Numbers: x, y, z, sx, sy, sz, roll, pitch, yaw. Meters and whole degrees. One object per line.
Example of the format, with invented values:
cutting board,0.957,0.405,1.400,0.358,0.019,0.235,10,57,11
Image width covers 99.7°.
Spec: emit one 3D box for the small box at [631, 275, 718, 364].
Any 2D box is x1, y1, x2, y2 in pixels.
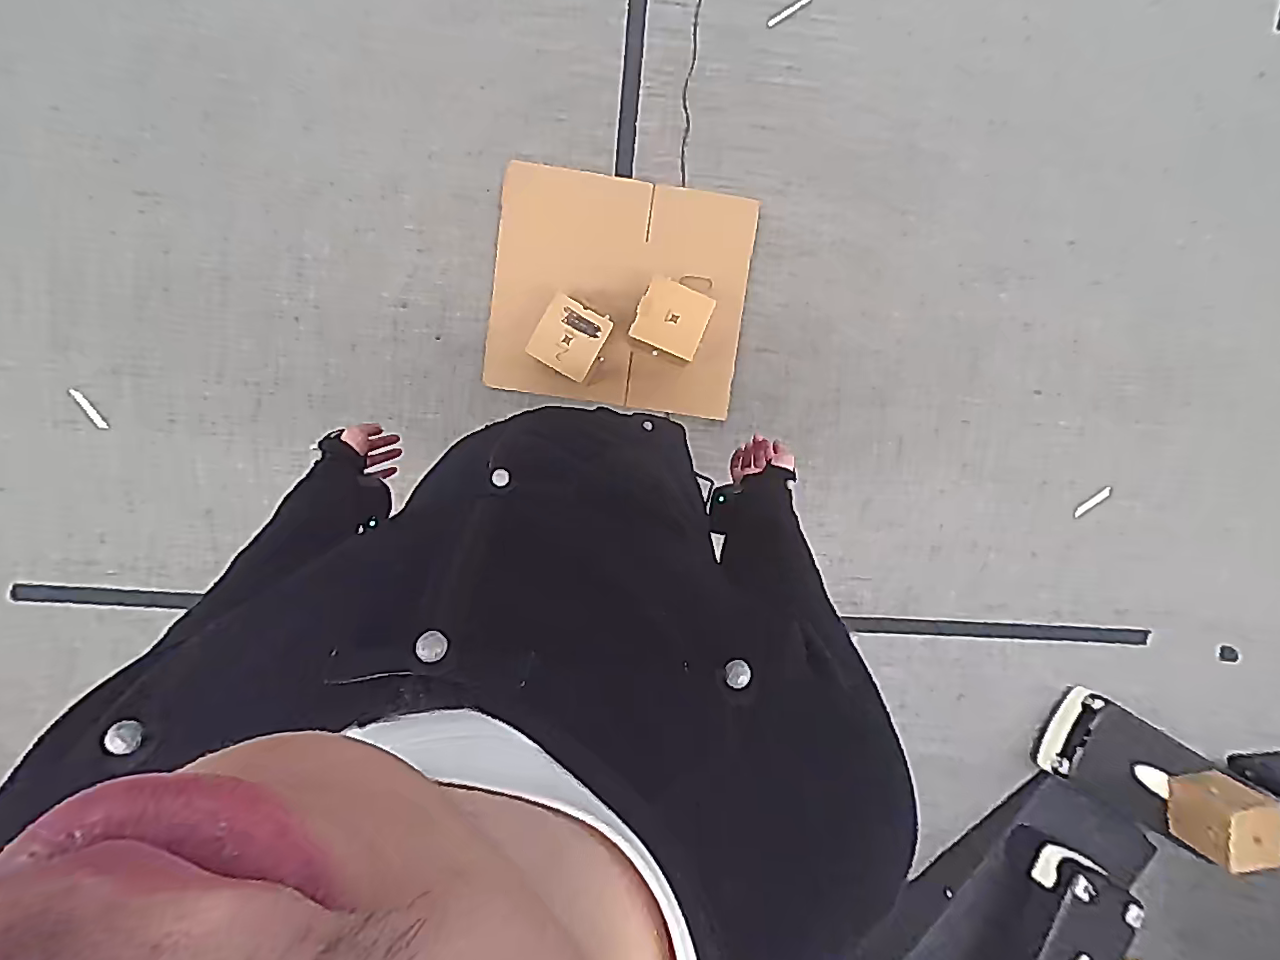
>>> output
small box,0.087,-0.419,1.445,0.179,0.176,0.168,23,96,-2
